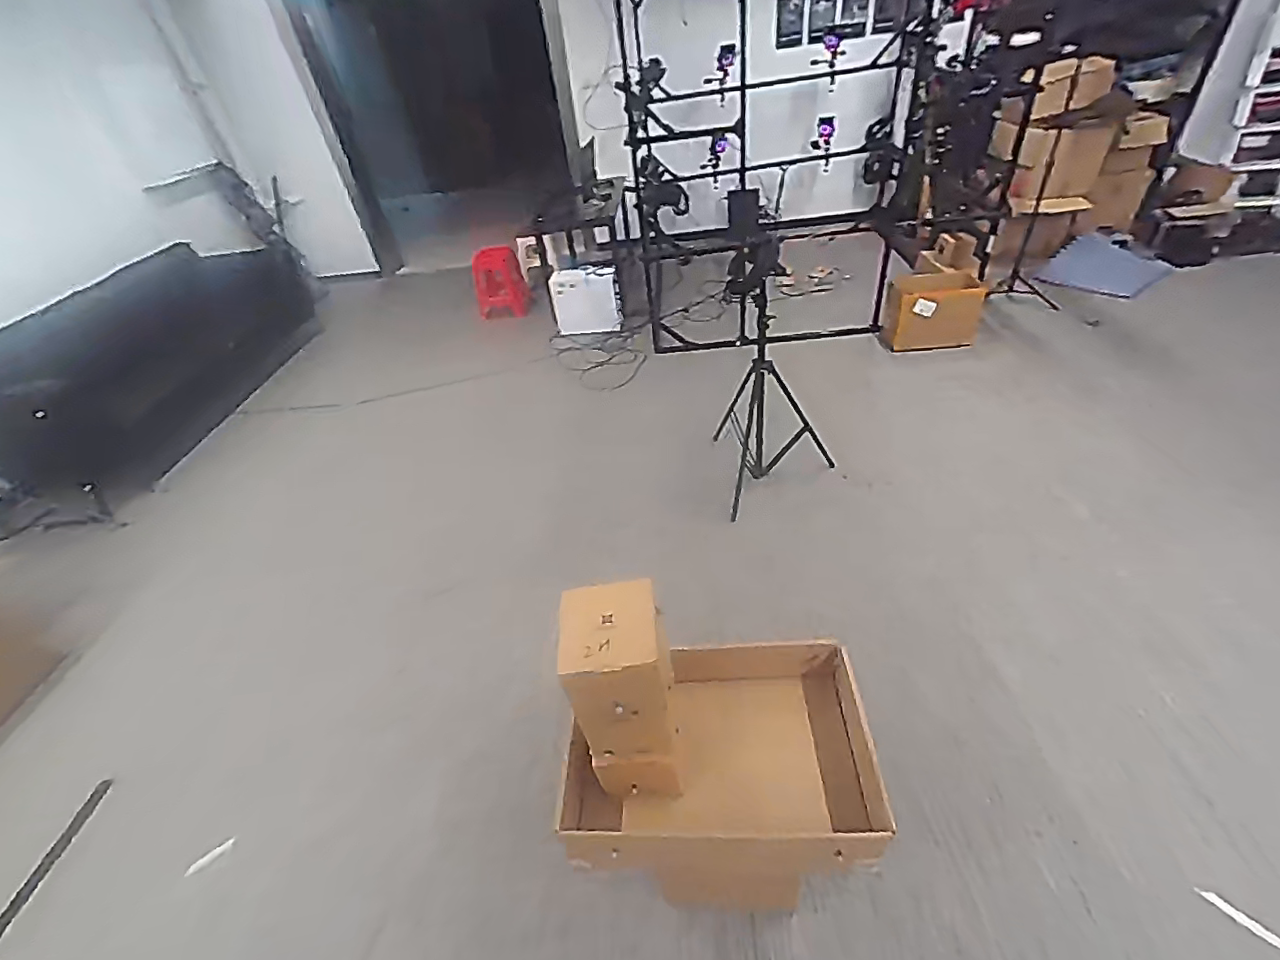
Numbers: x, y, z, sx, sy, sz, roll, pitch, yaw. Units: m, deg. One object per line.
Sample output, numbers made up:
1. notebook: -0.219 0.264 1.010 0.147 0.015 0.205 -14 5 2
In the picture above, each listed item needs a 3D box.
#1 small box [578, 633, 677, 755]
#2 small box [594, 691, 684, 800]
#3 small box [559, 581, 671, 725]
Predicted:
1. small box: -0.017 0.430 1.075 0.168 0.176 0.179 -5 39 6
2. small box: 0.004 0.564 1.168 0.168 0.176 0.179 -6 39 6
3. small box: -0.039 0.308 0.966 0.168 0.176 0.179 -8 40 4
